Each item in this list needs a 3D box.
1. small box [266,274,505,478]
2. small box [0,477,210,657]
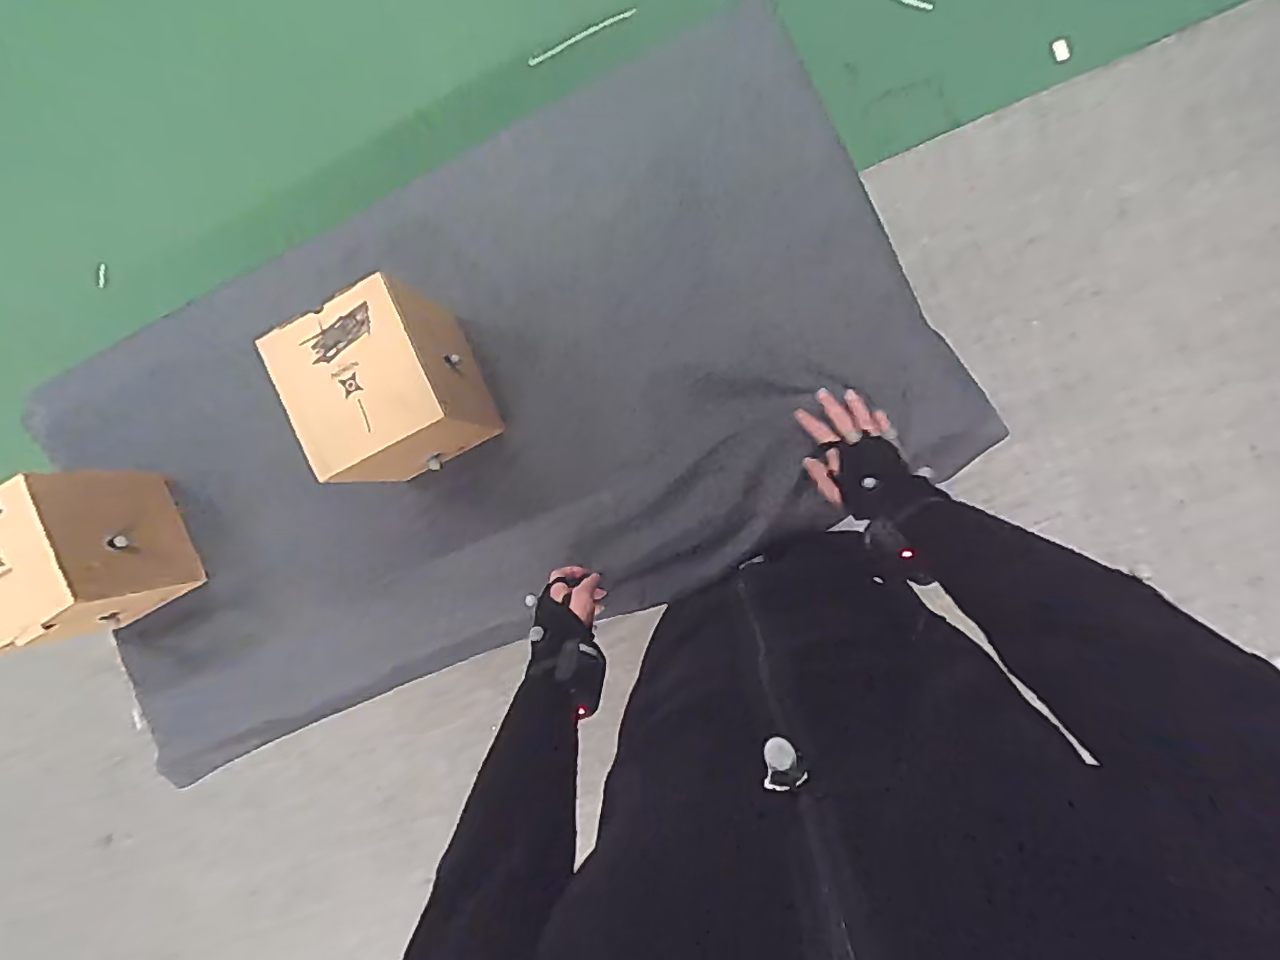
[{"bbox_3d":[-0.295,-0.111,0.662,0.168,0.176,0.179,-25,87,8],"label":"small box"},{"bbox_3d":[-0.742,0.104,0.731,0.168,0.176,0.179,-28,87,7],"label":"small box"}]
